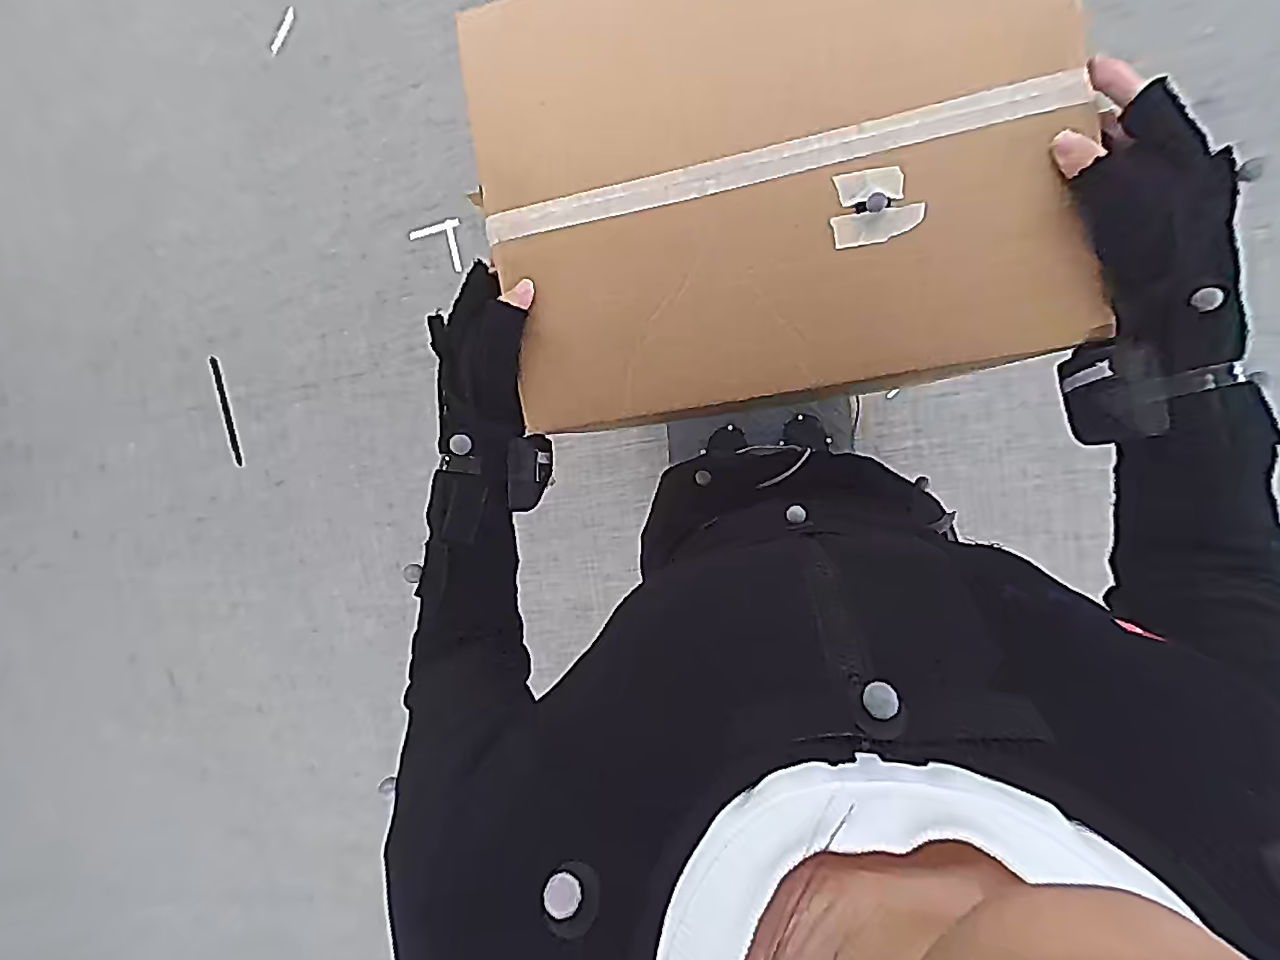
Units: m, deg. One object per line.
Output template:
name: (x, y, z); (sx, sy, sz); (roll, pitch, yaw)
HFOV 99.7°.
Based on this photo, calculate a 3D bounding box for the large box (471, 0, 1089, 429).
large box: (0.108, -0.236, 0.534); (0.408, 0.320, 0.320); (-9, 94, 9)
